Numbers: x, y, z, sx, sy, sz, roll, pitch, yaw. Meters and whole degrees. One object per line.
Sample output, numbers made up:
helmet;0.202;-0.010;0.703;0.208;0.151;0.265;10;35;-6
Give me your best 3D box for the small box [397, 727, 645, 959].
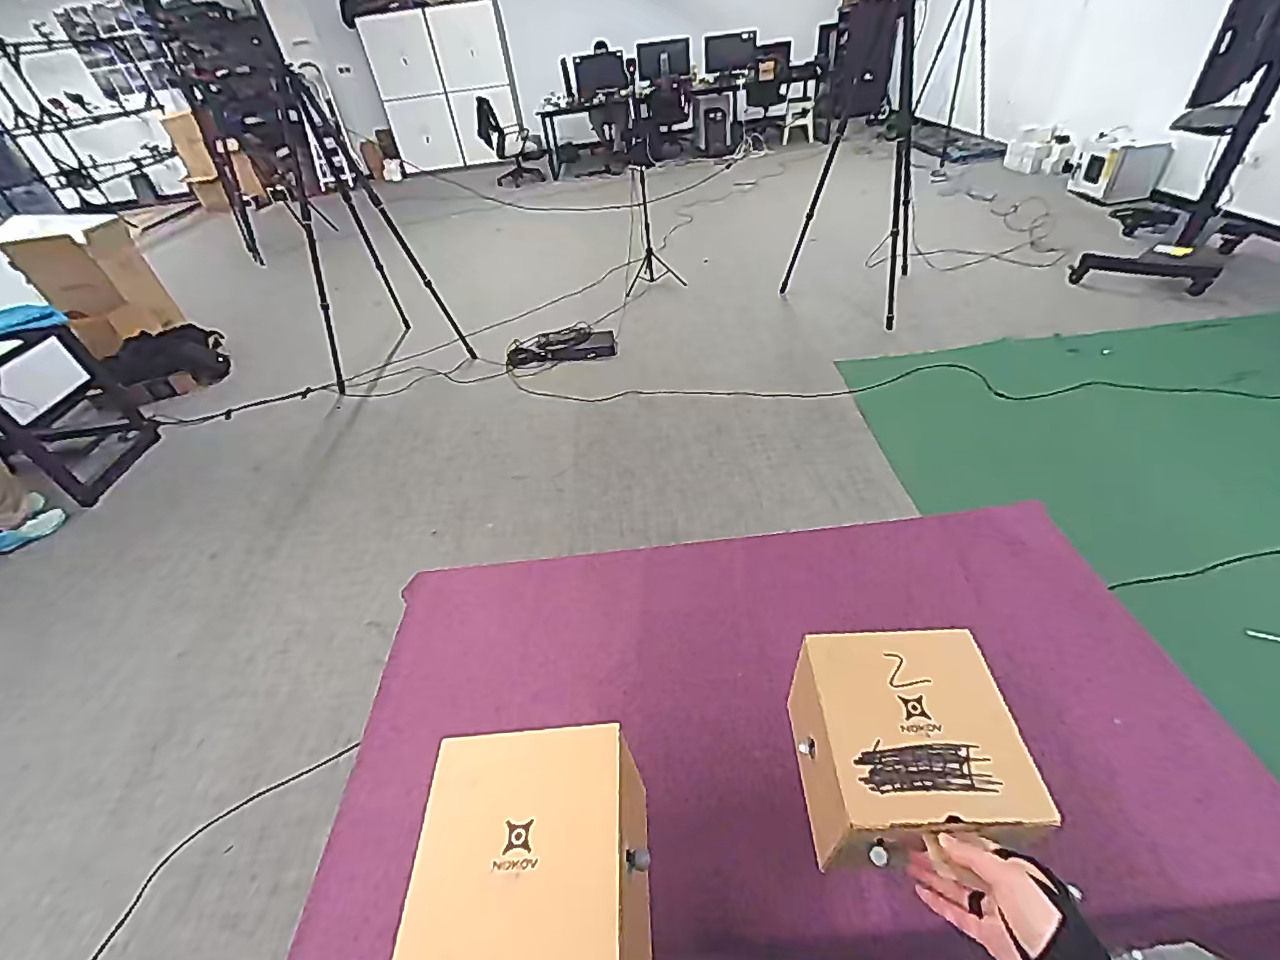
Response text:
small box;-0.087;0.351;0.493;0.168;0.176;0.179;-7;44;4
